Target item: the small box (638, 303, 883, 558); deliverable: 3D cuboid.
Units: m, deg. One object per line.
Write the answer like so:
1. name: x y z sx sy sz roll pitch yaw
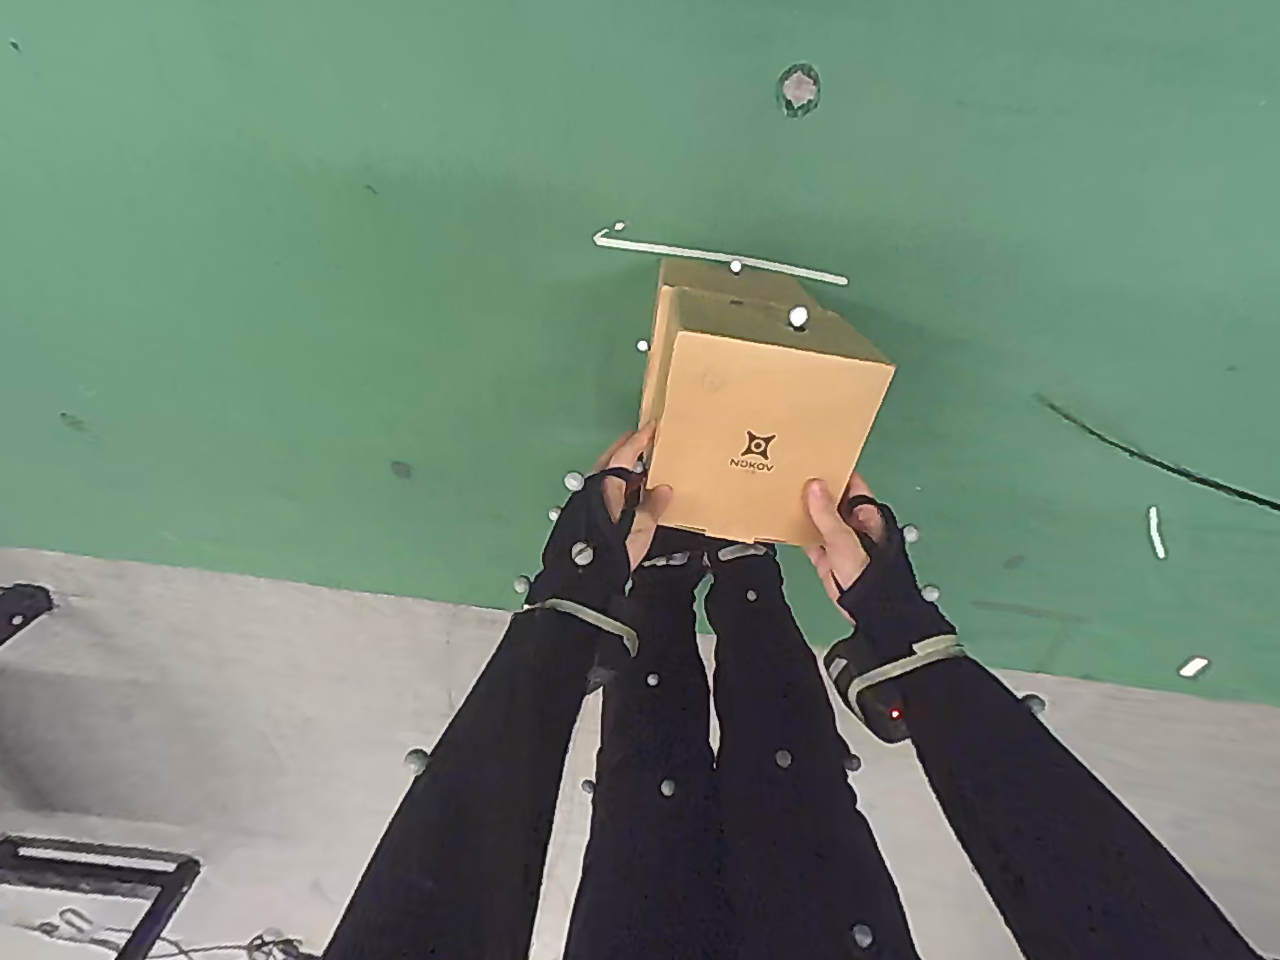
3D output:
1. small box: 0.092 -0.055 0.508 0.168 0.176 0.179 8 121 -2
